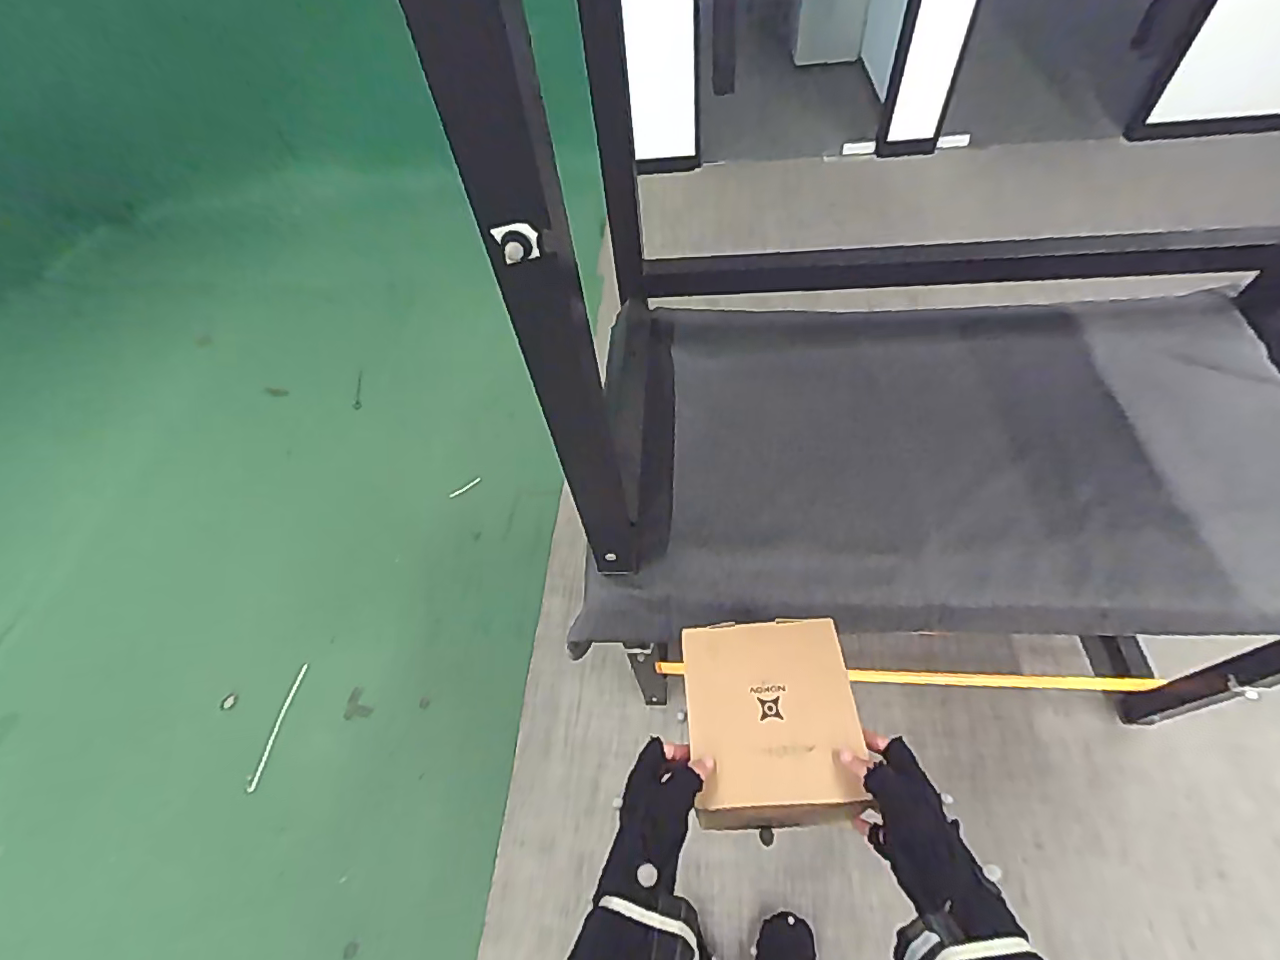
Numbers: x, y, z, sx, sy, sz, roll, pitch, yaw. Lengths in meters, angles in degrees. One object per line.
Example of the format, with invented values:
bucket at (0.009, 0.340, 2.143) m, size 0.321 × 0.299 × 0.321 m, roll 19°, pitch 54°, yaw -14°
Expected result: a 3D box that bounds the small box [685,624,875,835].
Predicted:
small box at (0.140, 0.282, 0.605) m, size 0.168 × 0.176 × 0.179 m, roll -6°, pitch 51°, yaw 6°
